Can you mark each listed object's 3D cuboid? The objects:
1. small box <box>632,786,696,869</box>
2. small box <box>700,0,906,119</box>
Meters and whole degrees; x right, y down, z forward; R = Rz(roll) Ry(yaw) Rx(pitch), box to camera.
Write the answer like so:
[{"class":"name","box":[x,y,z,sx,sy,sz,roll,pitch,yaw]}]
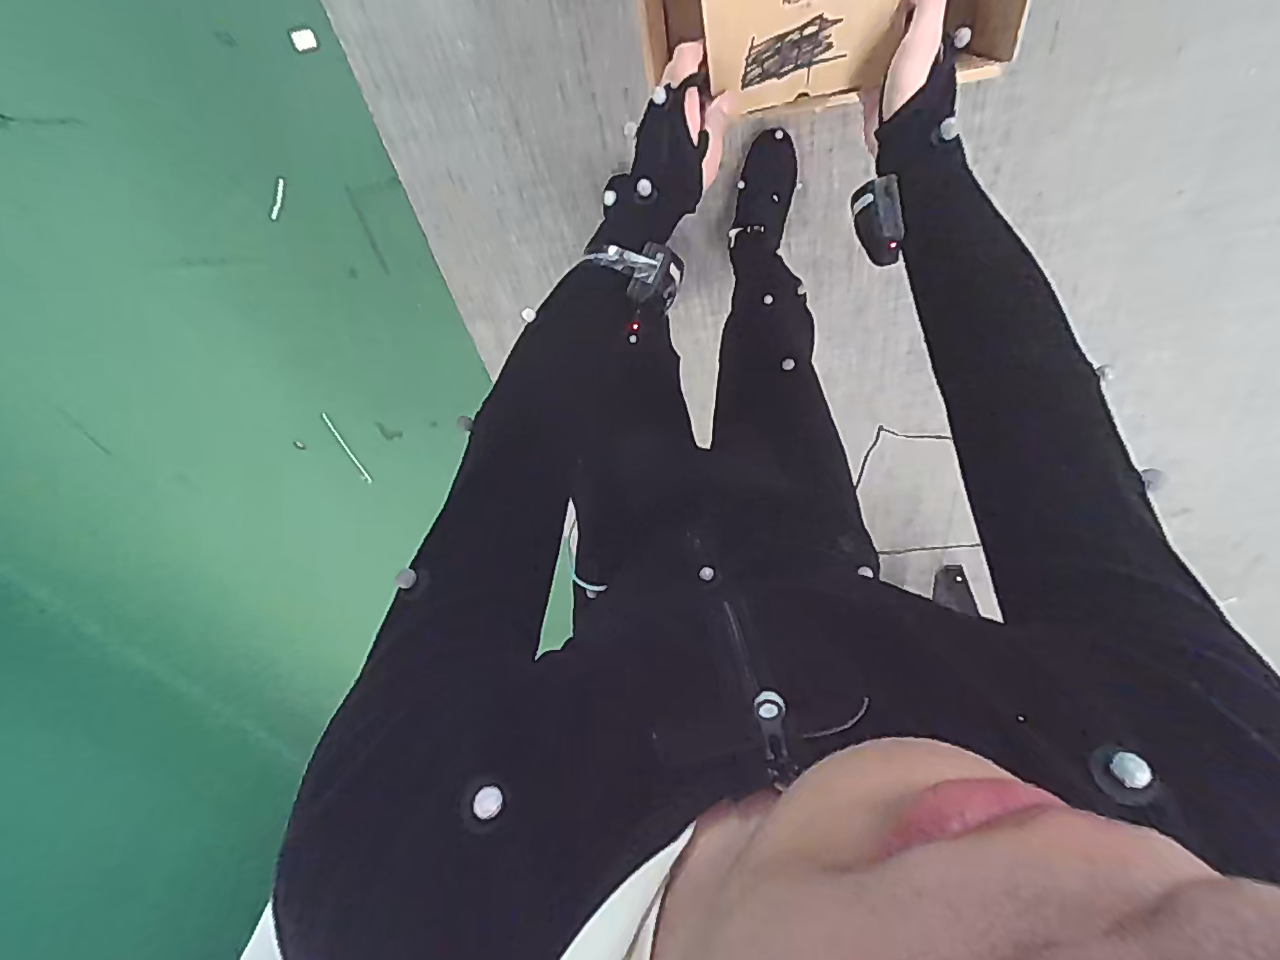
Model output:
[{"class":"small box","box":[0.077,1.060,1.658,0.179,0.176,0.168,2,133,8]},{"class":"small box","box":[0.136,-0.462,0.478,0.168,0.176,0.179,-5,141,13]}]
